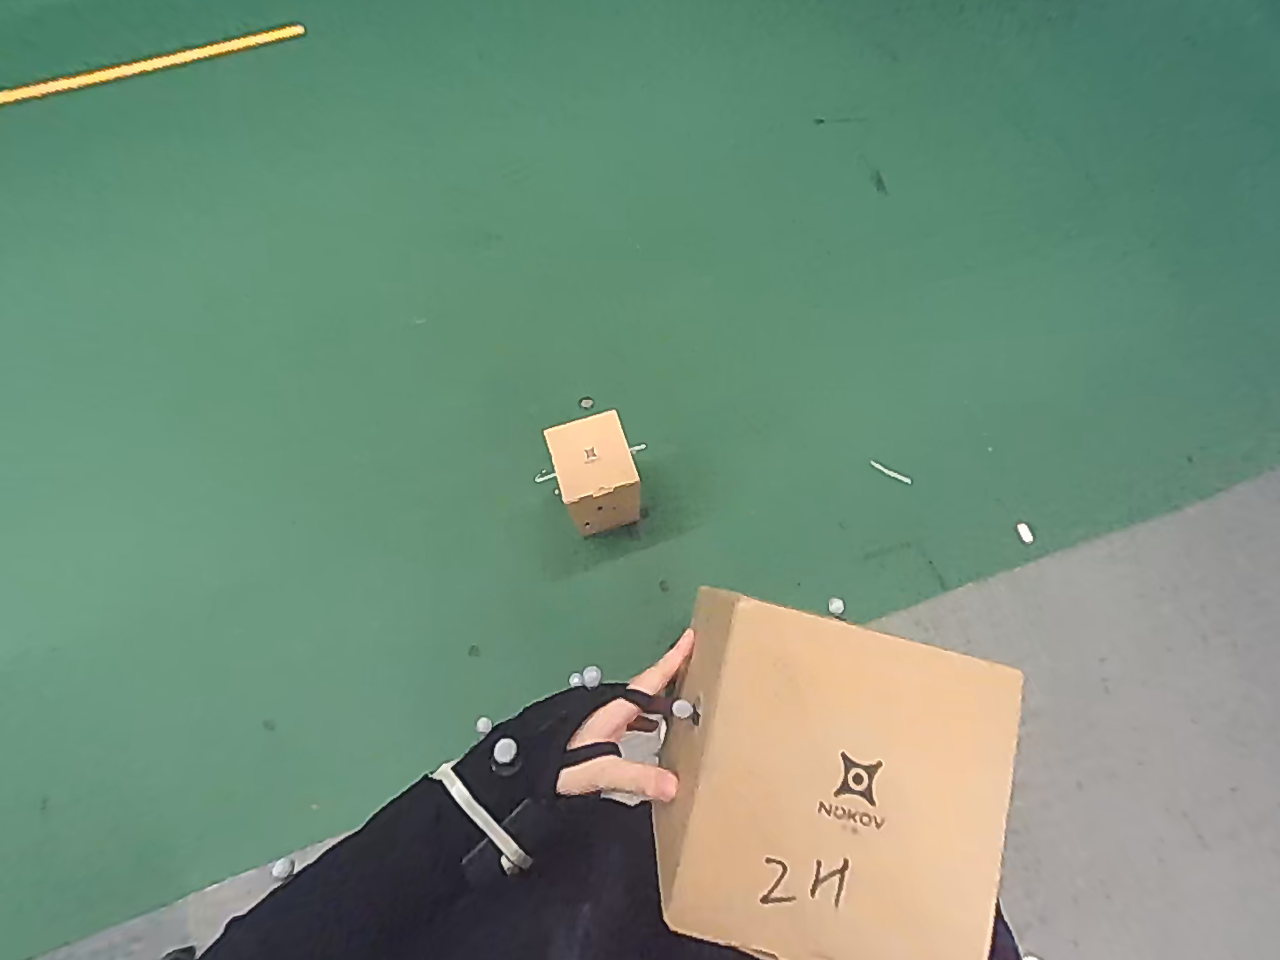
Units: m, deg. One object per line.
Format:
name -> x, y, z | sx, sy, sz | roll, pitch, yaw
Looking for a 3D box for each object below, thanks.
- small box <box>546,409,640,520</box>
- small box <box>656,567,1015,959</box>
small box -> -0.104, -0.029, 1.220 | 0.168, 0.176, 0.179 | -17, 72, -6
small box -> 0.109, 0.164, 0.368 | 0.168, 0.176, 0.179 | 14, 80, 1
